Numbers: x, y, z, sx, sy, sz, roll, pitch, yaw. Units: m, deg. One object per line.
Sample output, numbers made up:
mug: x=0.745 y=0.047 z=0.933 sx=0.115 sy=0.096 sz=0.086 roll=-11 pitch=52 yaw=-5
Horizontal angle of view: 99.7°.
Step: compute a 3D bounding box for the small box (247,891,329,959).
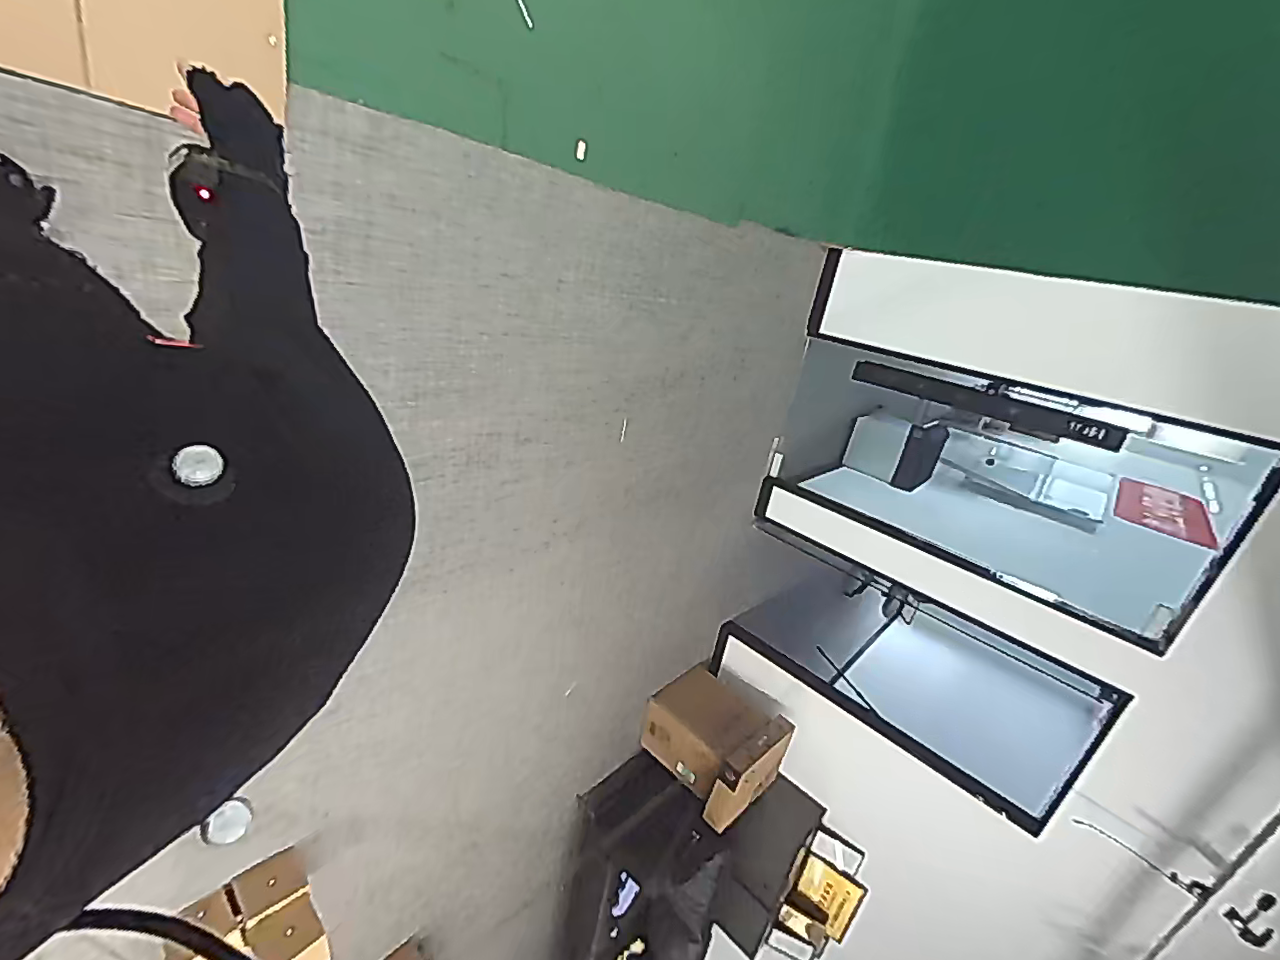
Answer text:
small box: x=-1.116 y=1.469 z=1.708 sx=0.179 sy=0.176 sz=0.168 roll=-18 pitch=127 yaw=-46
